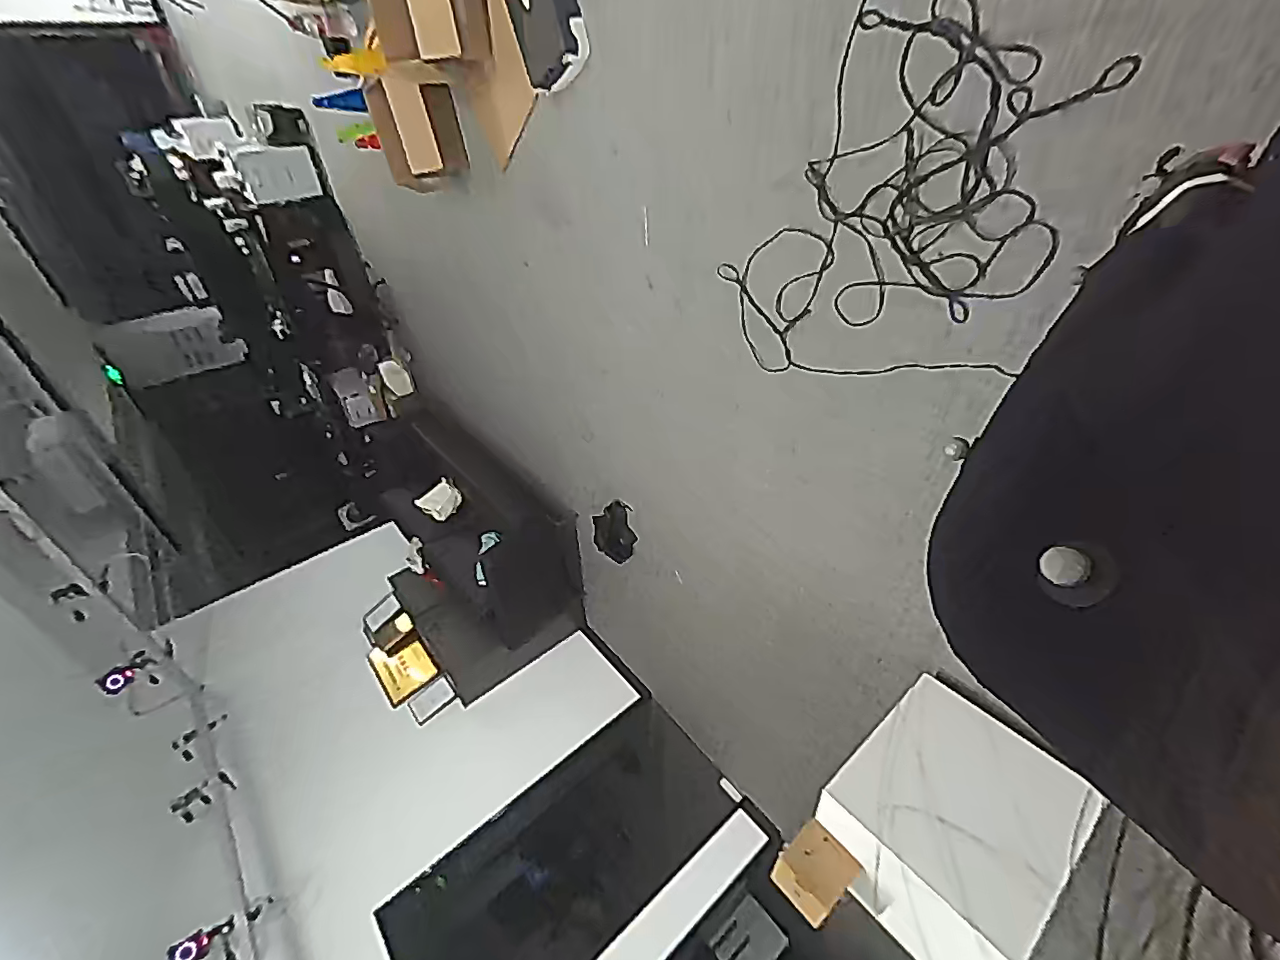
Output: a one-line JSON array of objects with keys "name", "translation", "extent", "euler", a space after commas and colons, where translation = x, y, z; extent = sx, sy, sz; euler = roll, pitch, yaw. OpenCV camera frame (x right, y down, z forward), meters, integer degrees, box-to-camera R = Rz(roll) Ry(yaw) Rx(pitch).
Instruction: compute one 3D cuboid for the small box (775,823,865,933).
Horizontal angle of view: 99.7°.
[{"name": "small box", "translation": [0.517, 1.136, 1.554], "extent": [0.168, 0.176, 0.179], "euler": [37, 143, 38]}]
